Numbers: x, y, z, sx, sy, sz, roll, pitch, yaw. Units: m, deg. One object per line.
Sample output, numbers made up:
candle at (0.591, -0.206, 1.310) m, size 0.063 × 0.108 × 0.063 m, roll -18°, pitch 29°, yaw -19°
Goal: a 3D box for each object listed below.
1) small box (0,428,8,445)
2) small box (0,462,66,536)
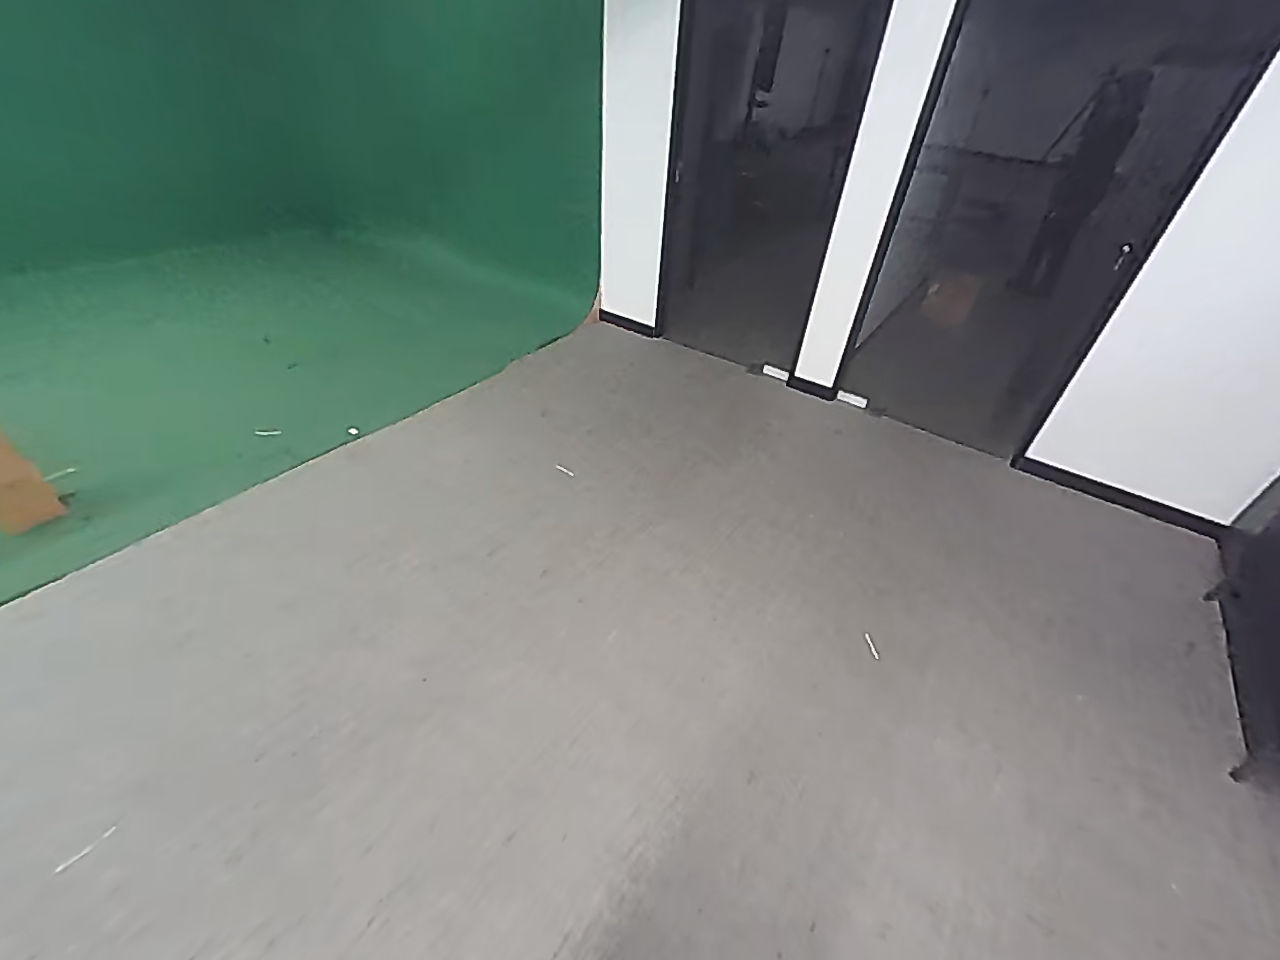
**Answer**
small box at (-2.244, -0.179, 1.756) m, size 0.168 × 0.176 × 0.179 m, roll 29°, pitch 45°, yaw 27°
small box at (-2.257, 0.071, 1.970) m, size 0.168 × 0.176 × 0.179 m, roll 30°, pitch 46°, yaw 27°
